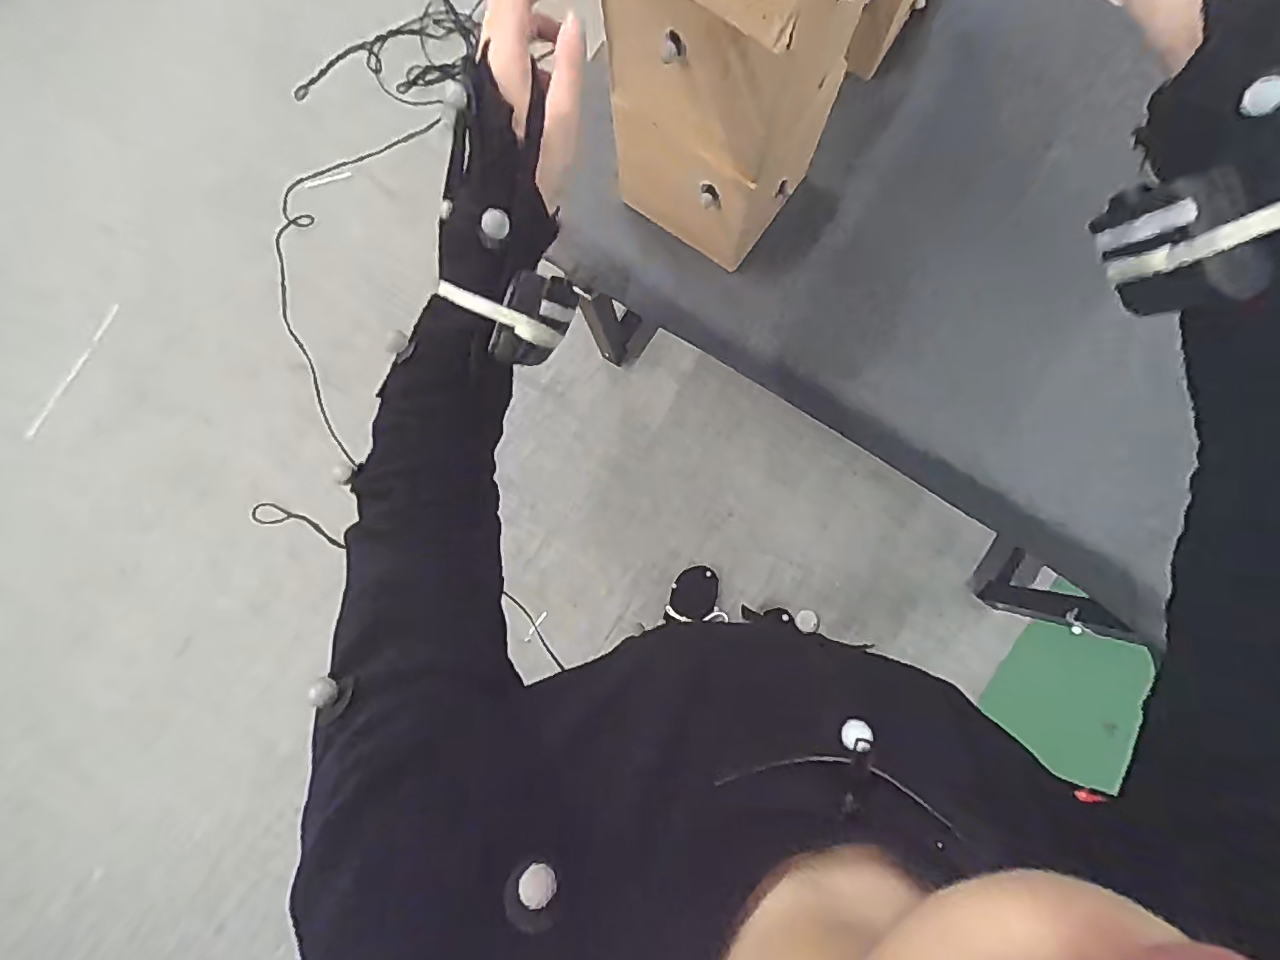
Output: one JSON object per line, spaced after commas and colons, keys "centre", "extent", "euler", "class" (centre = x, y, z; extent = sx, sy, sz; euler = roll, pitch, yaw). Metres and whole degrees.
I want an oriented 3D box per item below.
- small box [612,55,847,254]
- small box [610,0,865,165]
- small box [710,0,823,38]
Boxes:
{"centre": [0.091, -0.390, 0.612], "extent": [0.179, 0.176, 0.168], "euler": [36, 86, 5], "class": "small box"}
{"centre": [0.083, -0.411, 0.450], "extent": [0.179, 0.176, 0.168], "euler": [32, 87, 6], "class": "small box"}
{"centre": [0.081, -0.406, 0.286], "extent": [0.168, 0.176, 0.179], "euler": [37, 88, 5], "class": "small box"}
